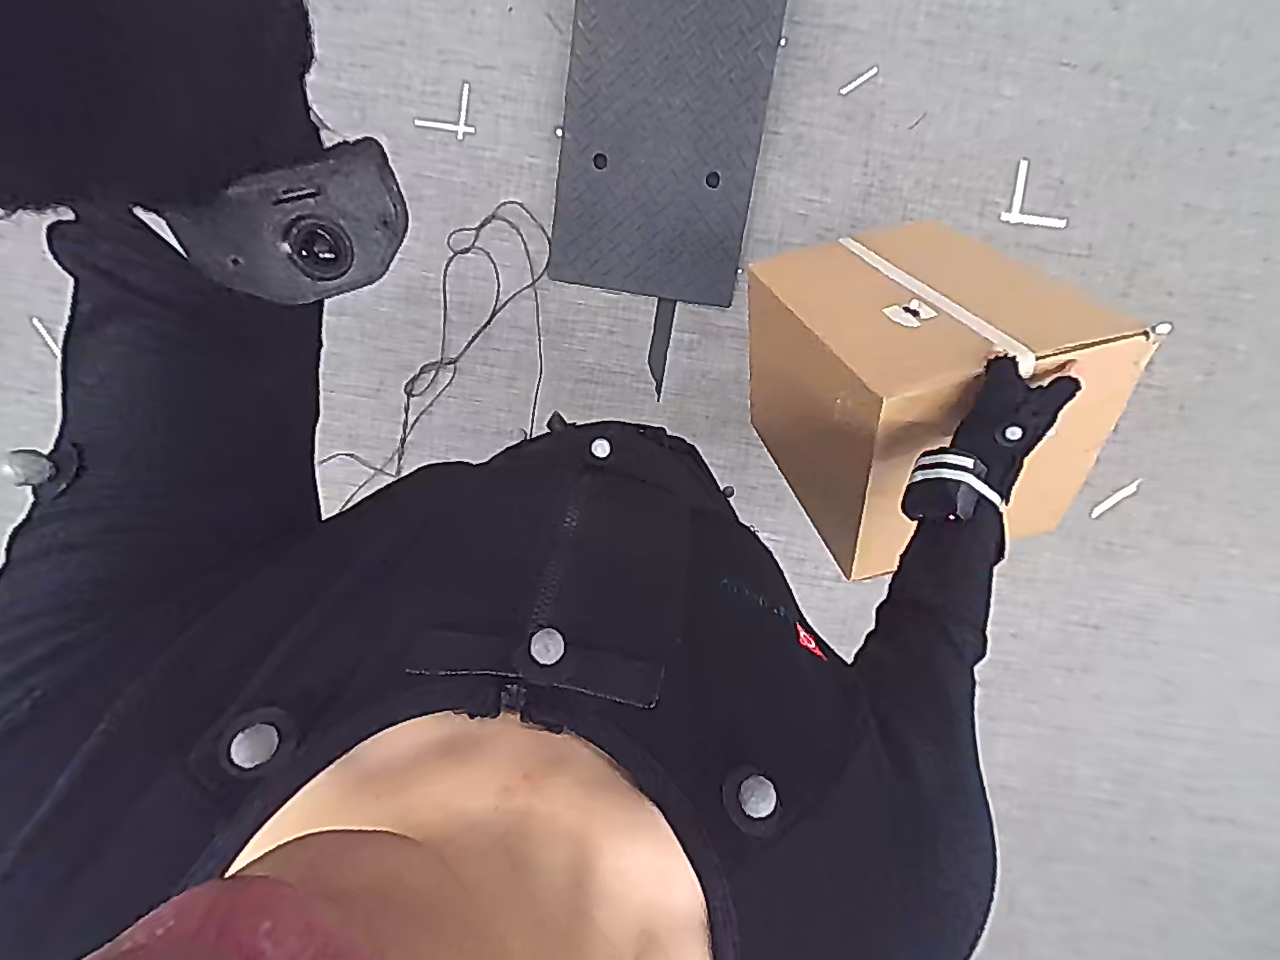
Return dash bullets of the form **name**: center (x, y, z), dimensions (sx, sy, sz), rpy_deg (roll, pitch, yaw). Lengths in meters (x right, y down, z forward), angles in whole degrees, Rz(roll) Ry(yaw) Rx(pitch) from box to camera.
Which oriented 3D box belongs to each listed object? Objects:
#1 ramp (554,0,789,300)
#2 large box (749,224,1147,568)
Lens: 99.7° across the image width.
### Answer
- **ramp**: center (0.083, -0.986, 1.305), dimensions (0.509, 0.206, 0.991), rpy_deg (7, 96, -2)
- **large box**: center (0.378, -0.141, 0.815), dimensions (0.320, 0.408, 0.320), rpy_deg (-14, 133, -3)
